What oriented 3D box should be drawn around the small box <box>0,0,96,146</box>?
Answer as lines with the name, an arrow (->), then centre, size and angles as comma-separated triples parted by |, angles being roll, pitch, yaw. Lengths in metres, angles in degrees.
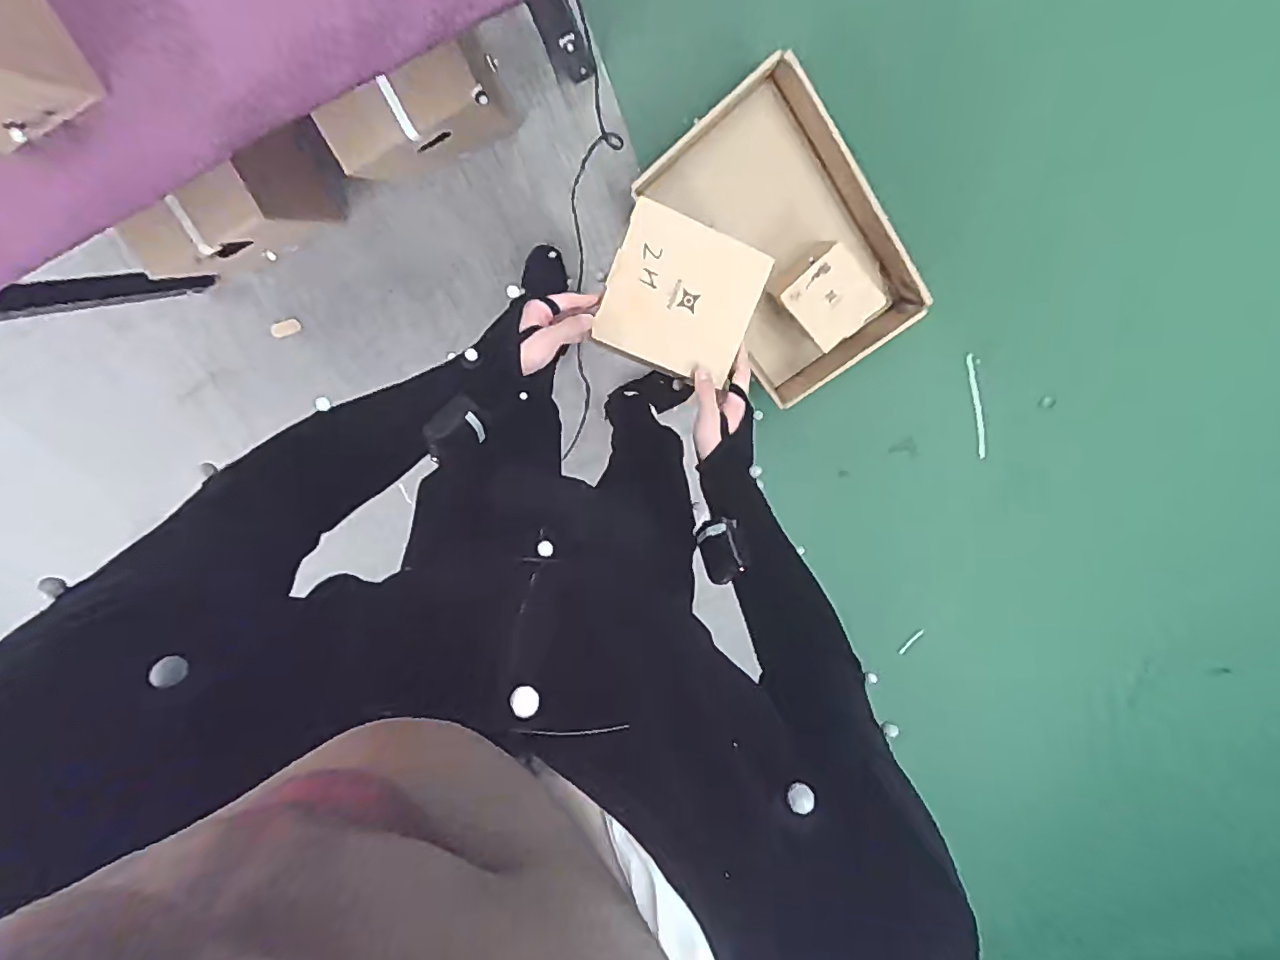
small box -> -0.731, -0.466, 0.537 | 0.168, 0.176, 0.179 | -17, 112, 11

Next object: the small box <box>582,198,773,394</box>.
small box -> 0.035, -0.222, 0.690 | 0.179, 0.176, 0.168 | 20, 100, -11

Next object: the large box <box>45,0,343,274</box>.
large box -> -0.951, -0.706, 1.167 | 0.320, 0.320, 0.408 | -19, 111, 11
